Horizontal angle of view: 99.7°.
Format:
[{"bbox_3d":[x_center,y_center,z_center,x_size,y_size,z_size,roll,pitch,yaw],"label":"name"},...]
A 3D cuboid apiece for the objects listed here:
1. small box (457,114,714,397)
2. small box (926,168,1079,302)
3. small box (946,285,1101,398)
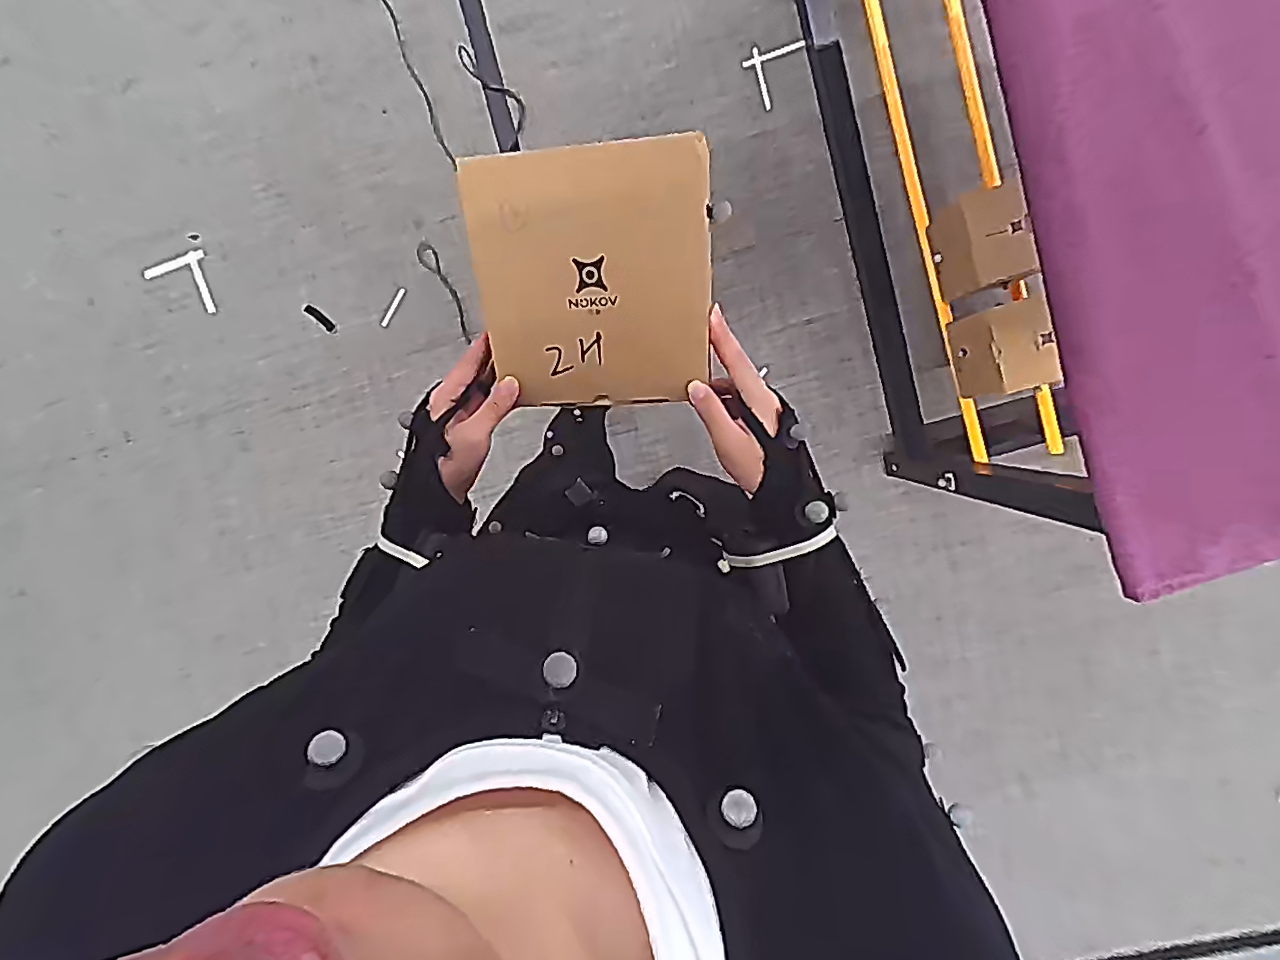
[{"bbox_3d":[-0.024,-0.176,0.445,0.168,0.176,0.179,0,115,9],"label":"small box"},{"bbox_3d":[0.695,-0.465,1.054,0.179,0.176,0.168,-15,95,8],"label":"small box"},{"bbox_3d":[0.748,-0.266,1.072,0.179,0.176,0.168,-16,95,7],"label":"small box"}]
